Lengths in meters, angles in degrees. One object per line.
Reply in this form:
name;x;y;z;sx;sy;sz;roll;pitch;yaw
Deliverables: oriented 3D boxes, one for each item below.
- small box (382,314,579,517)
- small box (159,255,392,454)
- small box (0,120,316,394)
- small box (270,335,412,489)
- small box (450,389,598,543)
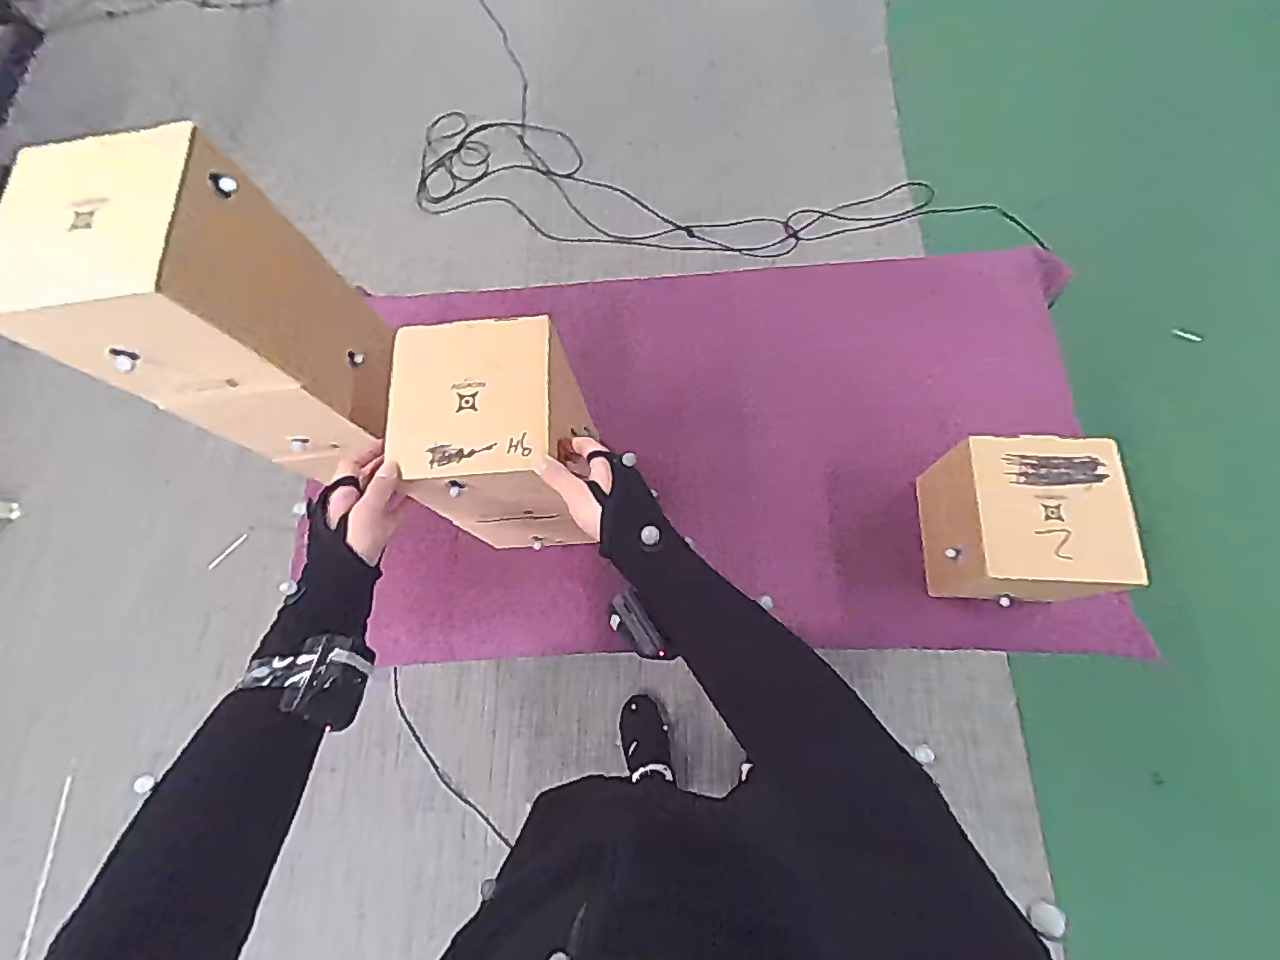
small box;-0.168;-0.064;0.624;0.168;0.176;0.179;-4;73;4
small box;-0.431;-0.146;0.674;0.168;0.176;0.179;-5;73;4
small box;-0.446;-0.195;0.519;0.168;0.176;0.179;-6;72;4
small box;-0.418;-0.096;0.829;0.168;0.176;0.179;-5;73;4
small box;-0.155;-0.013;0.778;0.168;0.176;0.179;-4;73;4
